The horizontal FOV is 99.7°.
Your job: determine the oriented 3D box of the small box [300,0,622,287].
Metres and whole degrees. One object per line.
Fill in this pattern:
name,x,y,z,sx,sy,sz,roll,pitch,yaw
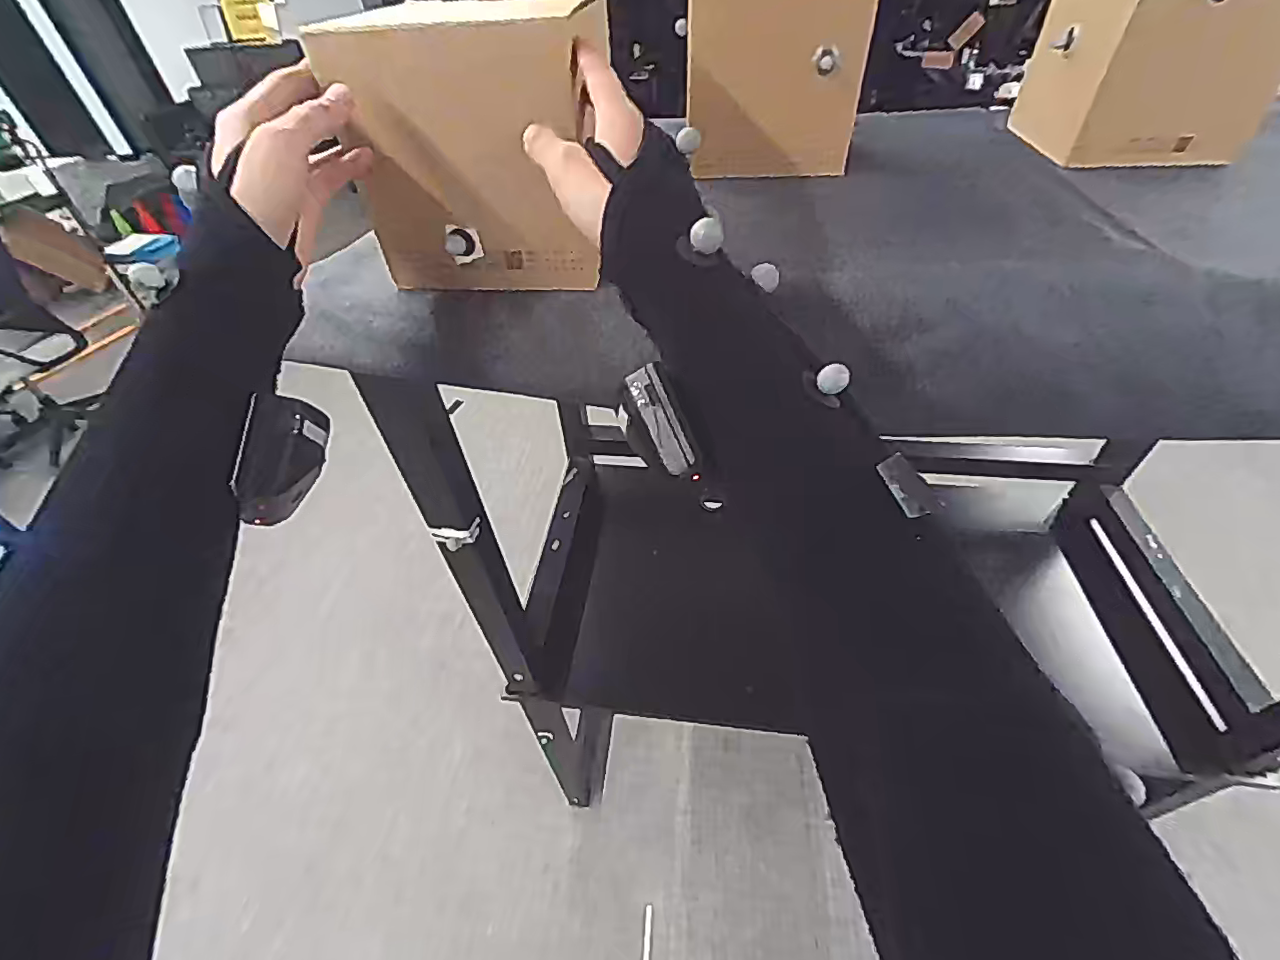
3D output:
small box,-0.106,-0.266,0.417,0.168,0.176,0.179,1,44,5

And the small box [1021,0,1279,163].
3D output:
small box,0.541,-0.446,0.560,0.168,0.176,0.179,2,45,7
